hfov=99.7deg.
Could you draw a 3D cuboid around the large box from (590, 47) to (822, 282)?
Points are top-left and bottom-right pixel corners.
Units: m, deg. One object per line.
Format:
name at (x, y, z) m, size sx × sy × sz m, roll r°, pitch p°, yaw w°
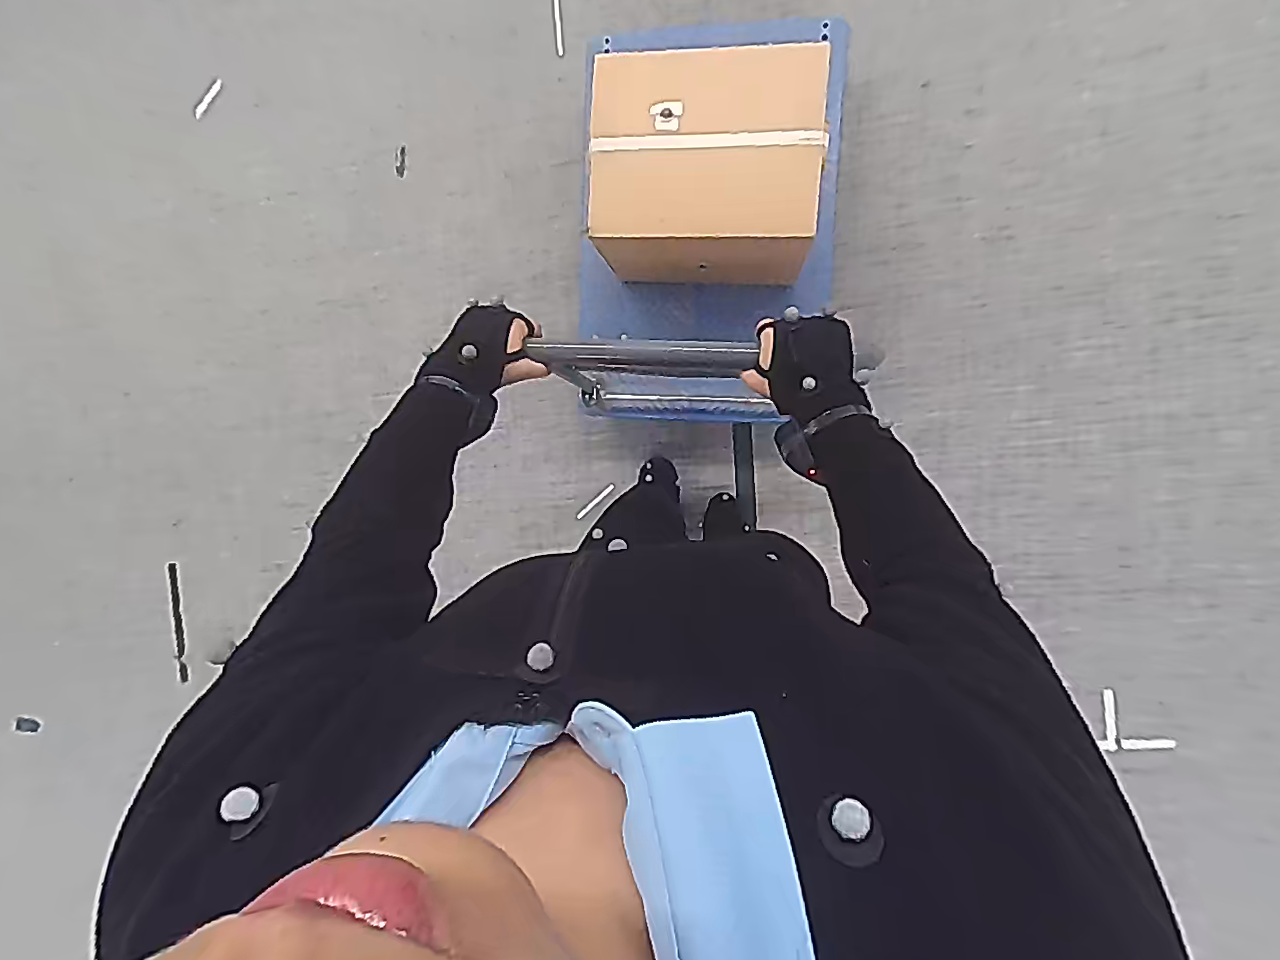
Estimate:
large box at (0.135, -0.599, 1.101) m, size 0.408 × 0.320 × 0.320 m, roll 4°, pitch 95°, yaw 10°
